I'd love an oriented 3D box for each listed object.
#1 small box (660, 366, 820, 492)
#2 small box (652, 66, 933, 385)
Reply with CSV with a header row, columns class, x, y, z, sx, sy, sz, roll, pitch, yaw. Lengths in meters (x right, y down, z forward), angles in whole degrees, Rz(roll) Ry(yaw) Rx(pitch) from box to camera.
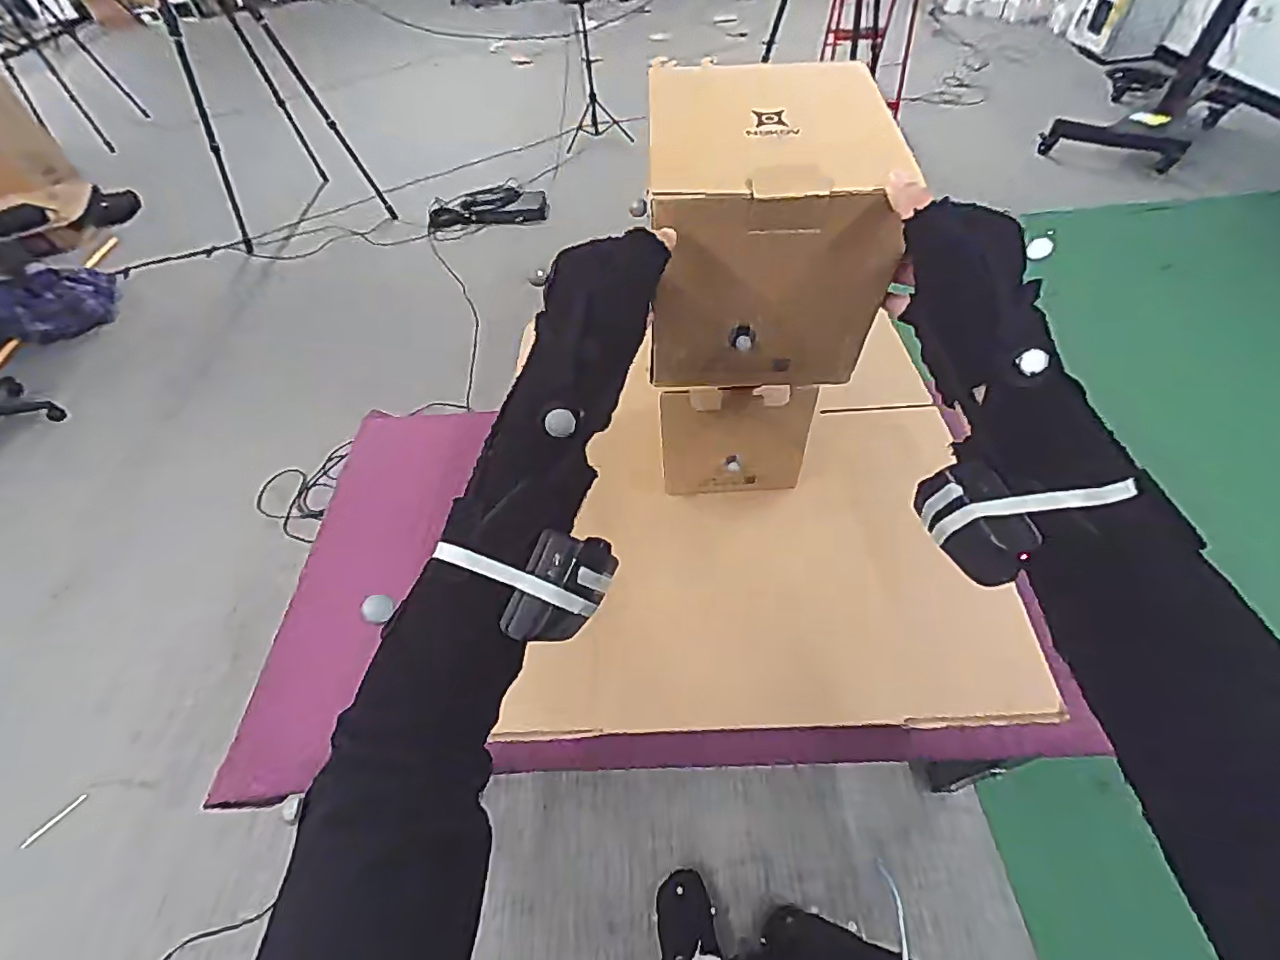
class,x,y,z,sx,sy,sz,roll,pitch,yaw
small box,0.108,-0.104,0.668,0.168,0.176,0.179,-3,51,3
small box,0.094,-0.198,0.434,0.168,0.176,0.179,-1,58,0
